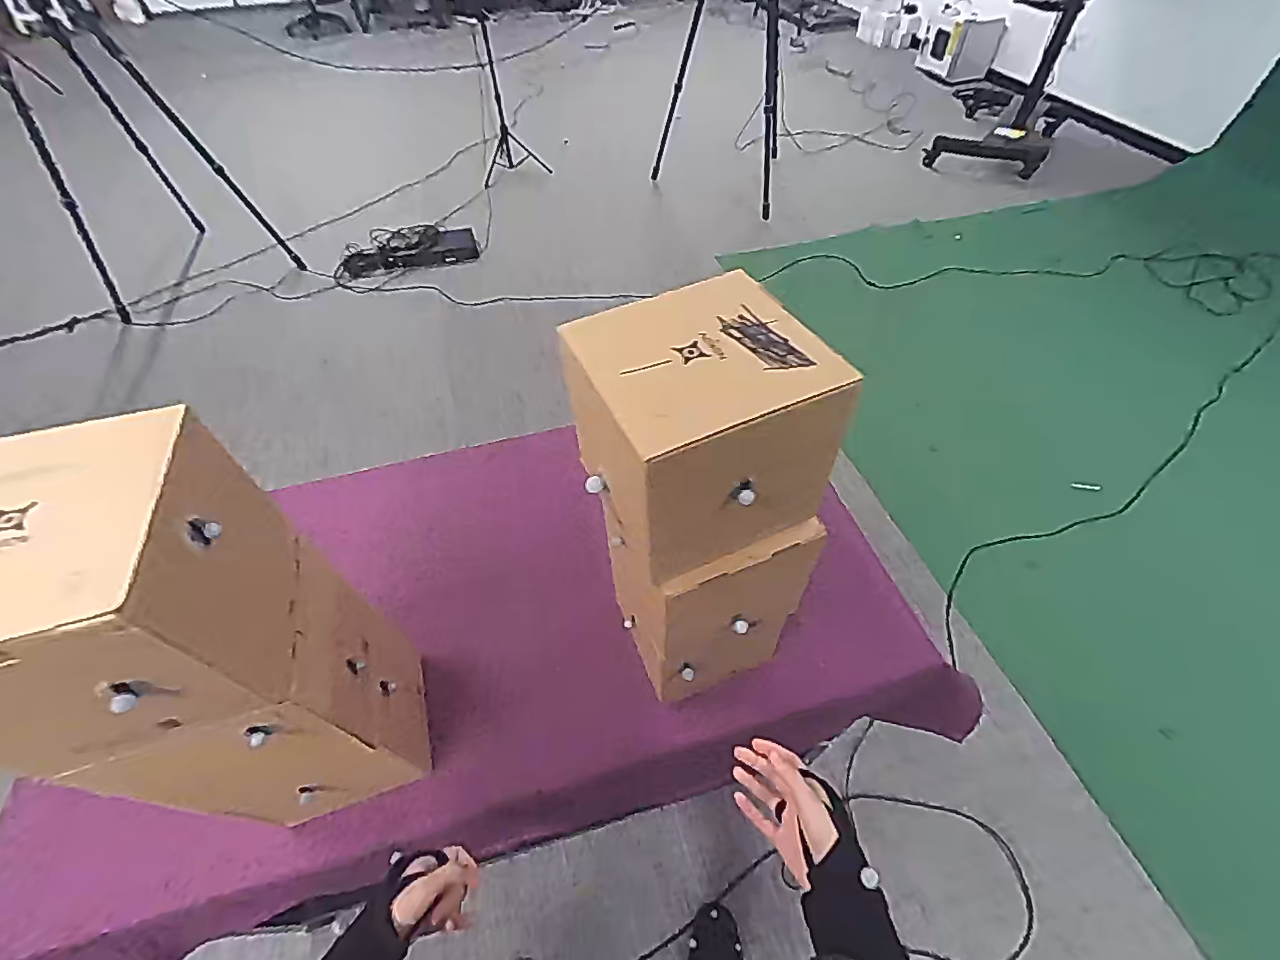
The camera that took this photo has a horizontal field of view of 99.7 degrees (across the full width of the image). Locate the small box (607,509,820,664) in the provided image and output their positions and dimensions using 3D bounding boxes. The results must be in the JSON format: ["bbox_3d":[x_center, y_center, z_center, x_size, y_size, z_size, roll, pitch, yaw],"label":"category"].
[{"bbox_3d":[0.062,0.067,0.589,0.168,0.176,0.179,-19,53,-12],"label":"small box"}]

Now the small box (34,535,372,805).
[{"bbox_3d":[-0.380,0.184,0.517,0.179,0.176,0.168,-15,52,-11],"label":"small box"}]

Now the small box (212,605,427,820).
[{"bbox_3d":[-0.375,0.281,0.647,0.179,0.176,0.168,-16,53,-10],"label":"small box"}]

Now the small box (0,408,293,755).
[{"bbox_3d":[-0.384,0.079,0.393,0.168,0.176,0.179,-13,51,-10],"label":"small box"}]

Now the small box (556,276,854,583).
[{"bbox_3d":[0.044,-0.042,0.467,0.179,0.176,0.168,-21,52,-13],"label":"small box"}]
